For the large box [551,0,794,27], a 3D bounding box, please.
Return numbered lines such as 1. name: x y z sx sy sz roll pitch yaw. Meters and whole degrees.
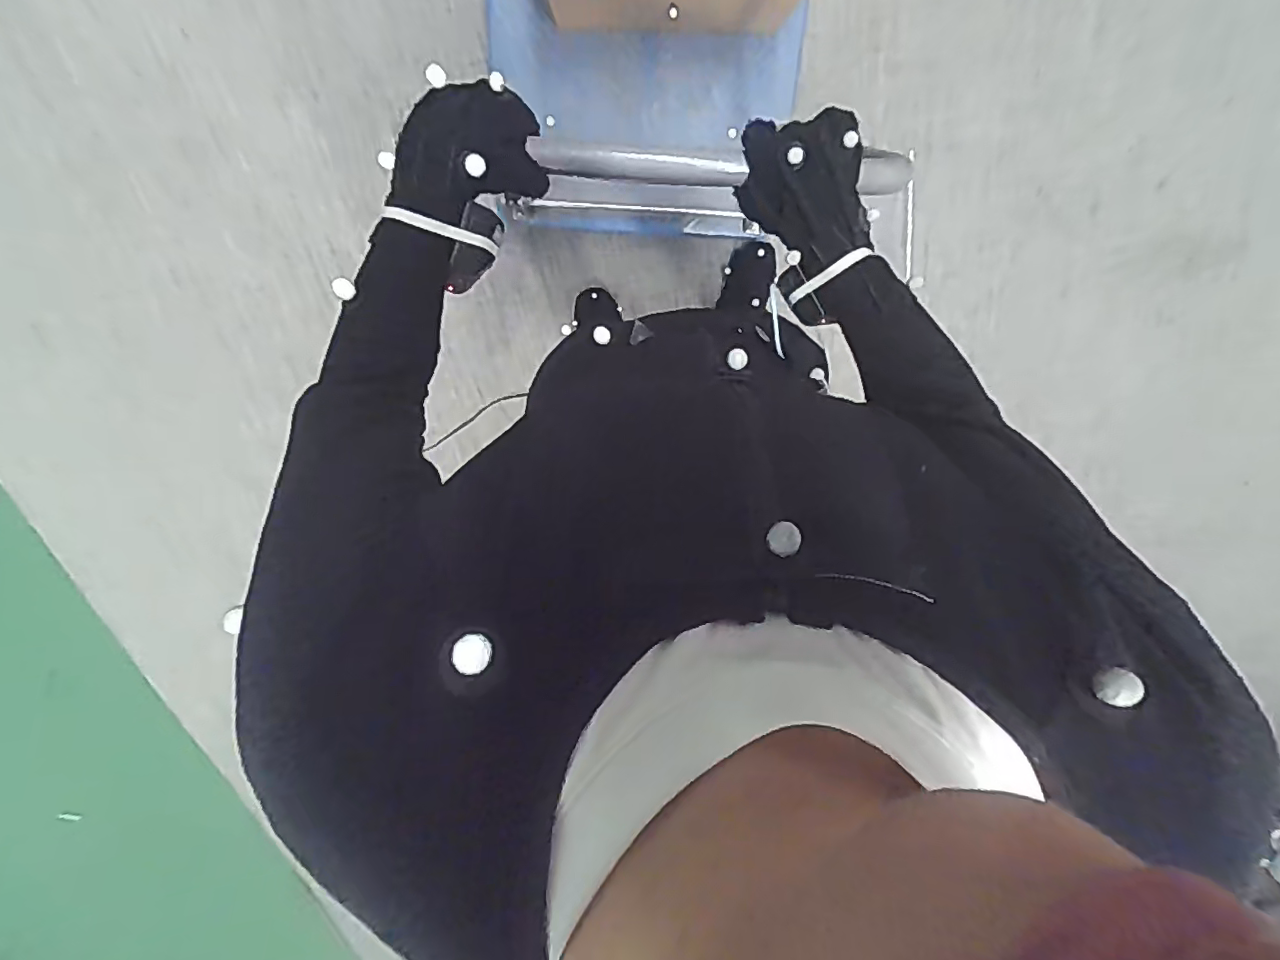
1. large box: 0.054 -0.899 0.791 0.408 0.320 0.320 0 116 0
